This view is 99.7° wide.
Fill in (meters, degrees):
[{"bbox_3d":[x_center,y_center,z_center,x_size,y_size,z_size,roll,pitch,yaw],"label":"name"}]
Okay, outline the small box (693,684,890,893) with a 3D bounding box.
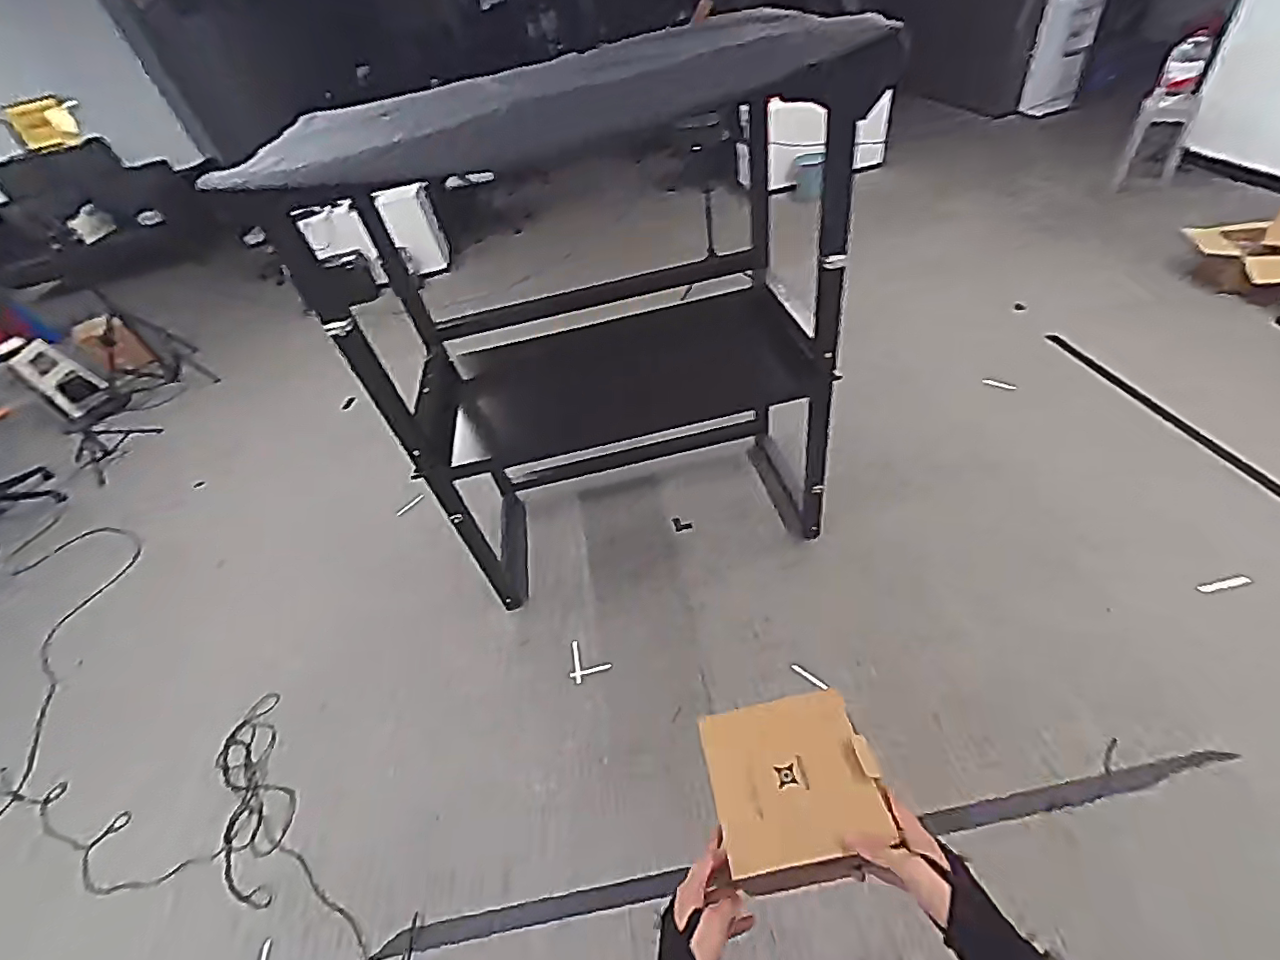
[{"bbox_3d":[0.176,0.378,0.661,0.179,0.176,0.168,-16,44,3],"label":"small box"}]
